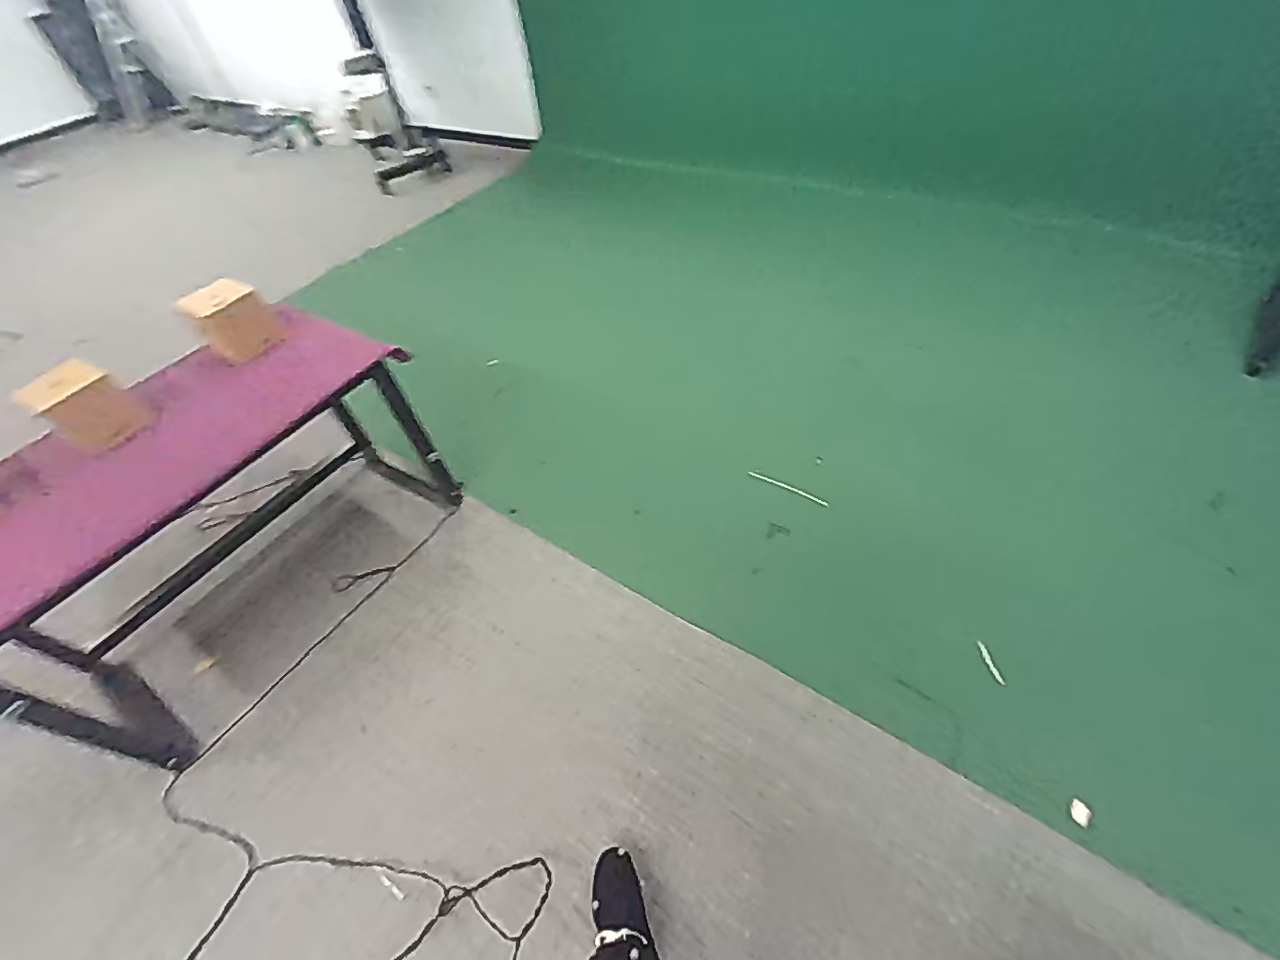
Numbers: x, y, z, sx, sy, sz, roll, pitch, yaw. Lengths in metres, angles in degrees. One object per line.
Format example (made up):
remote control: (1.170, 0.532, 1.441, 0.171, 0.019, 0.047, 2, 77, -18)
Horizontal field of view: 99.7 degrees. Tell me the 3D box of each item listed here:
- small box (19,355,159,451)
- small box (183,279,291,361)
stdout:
small box: (-1.461, -0.202, 1.443, 0.179, 0.176, 0.168, 21, 56, 23)
small box: (-1.231, -0.491, 1.662, 0.179, 0.176, 0.168, 22, 56, 25)
